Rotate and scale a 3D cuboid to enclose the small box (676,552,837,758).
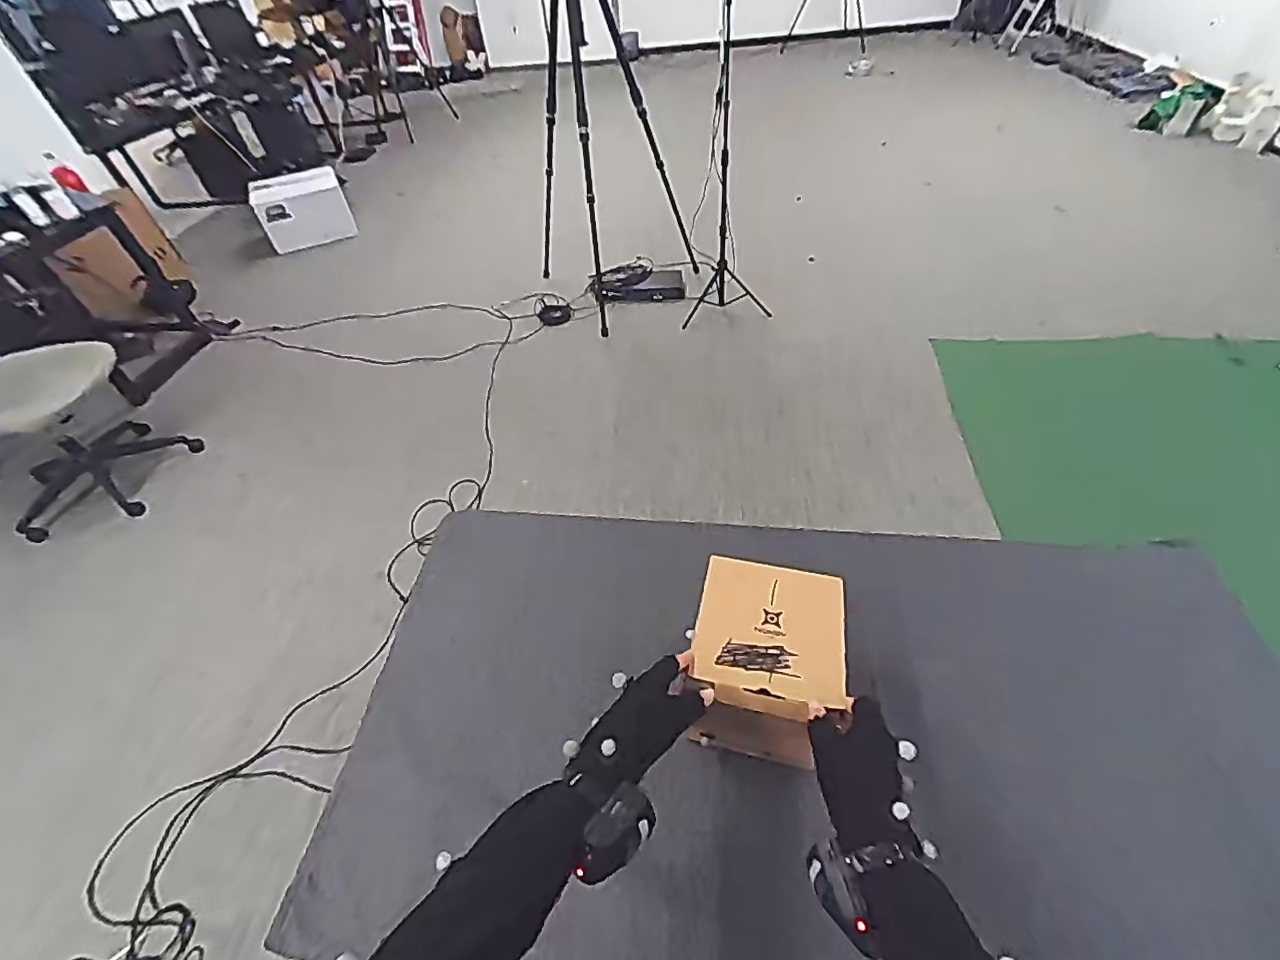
[{"bbox_3d":[0.145,0.221,0.681,0.168,0.176,0.179,9,46,12],"label":"small box"}]
